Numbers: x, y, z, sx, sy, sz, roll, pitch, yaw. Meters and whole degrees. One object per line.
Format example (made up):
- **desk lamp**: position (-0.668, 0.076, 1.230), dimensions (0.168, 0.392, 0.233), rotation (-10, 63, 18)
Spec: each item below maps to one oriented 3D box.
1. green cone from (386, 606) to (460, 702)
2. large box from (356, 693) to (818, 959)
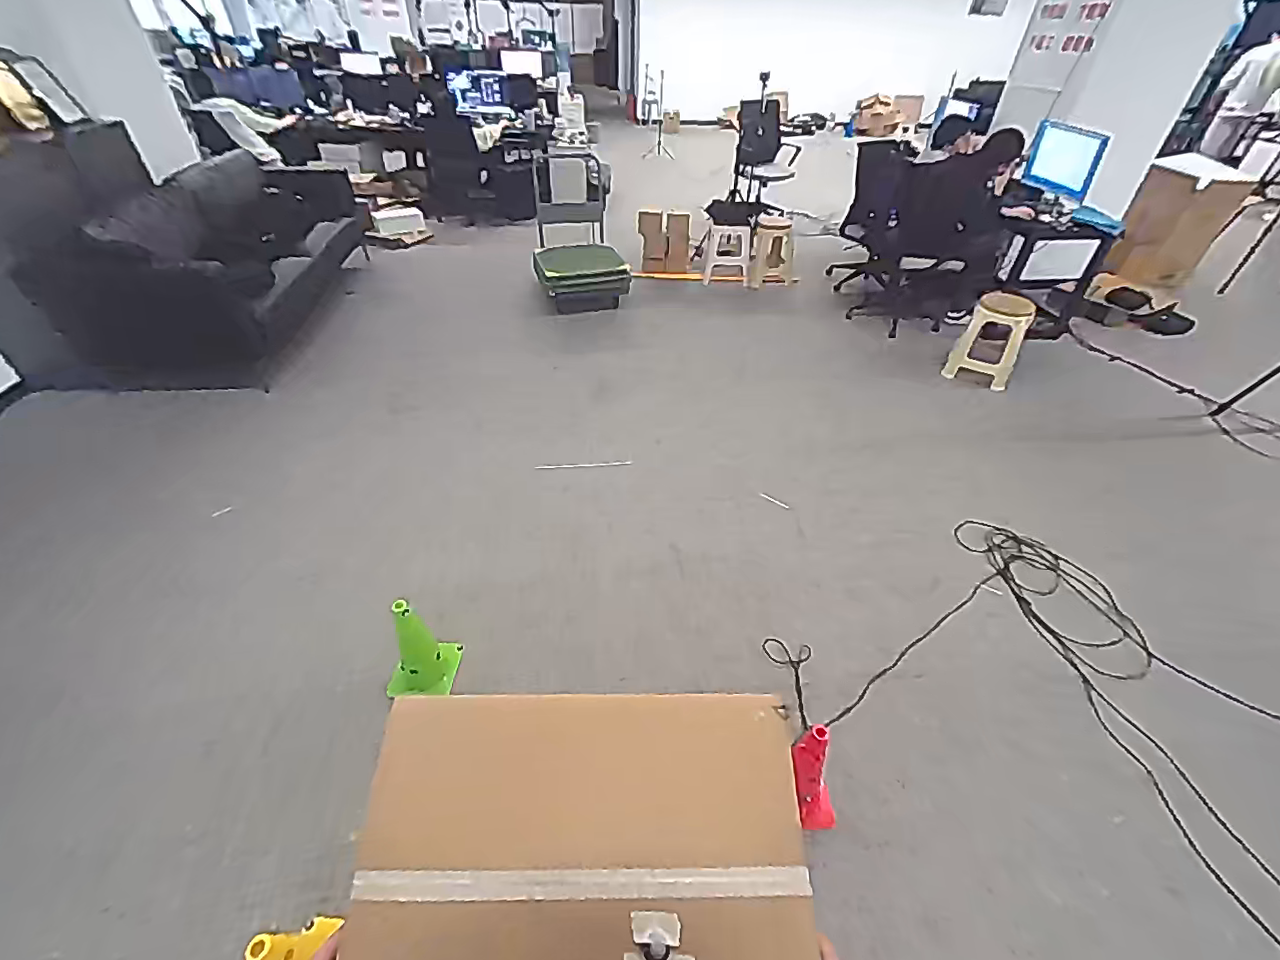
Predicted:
- **green cone**: position (-0.706, 0.503, 1.661), dimensions (0.200, 0.368, 0.202), rotation (1, 42, 0)
- **large box**: position (-0.049, 0.441, 0.618), dimensions (0.408, 0.320, 0.320), rotation (0, 59, -1)
